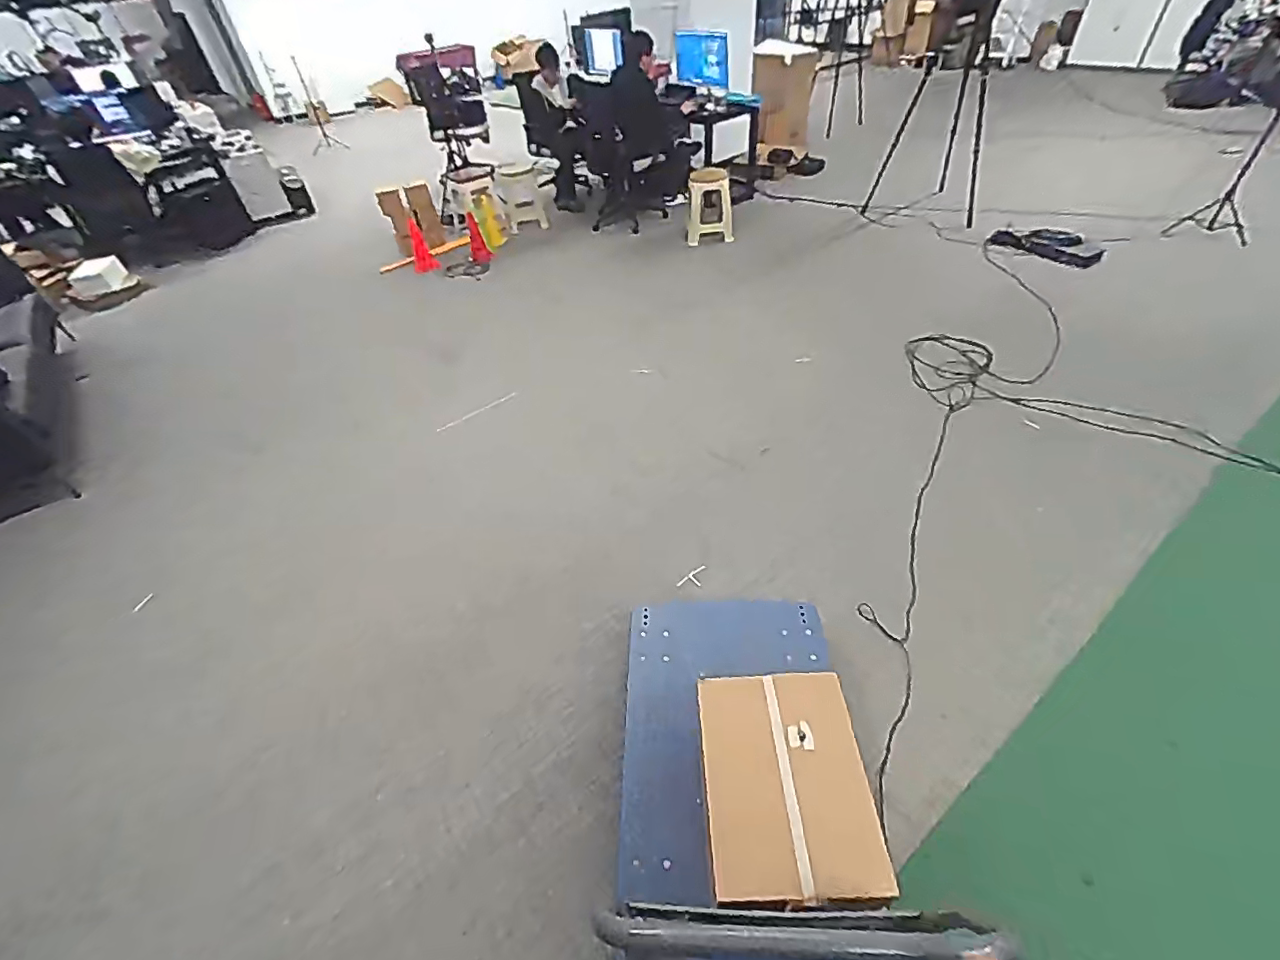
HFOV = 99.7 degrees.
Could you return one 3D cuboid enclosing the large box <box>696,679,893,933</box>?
[{"bbox_3d":[0.298,0.704,1.182,0.320,0.320,0.408,-3,43,2],"label":"large box"}]
